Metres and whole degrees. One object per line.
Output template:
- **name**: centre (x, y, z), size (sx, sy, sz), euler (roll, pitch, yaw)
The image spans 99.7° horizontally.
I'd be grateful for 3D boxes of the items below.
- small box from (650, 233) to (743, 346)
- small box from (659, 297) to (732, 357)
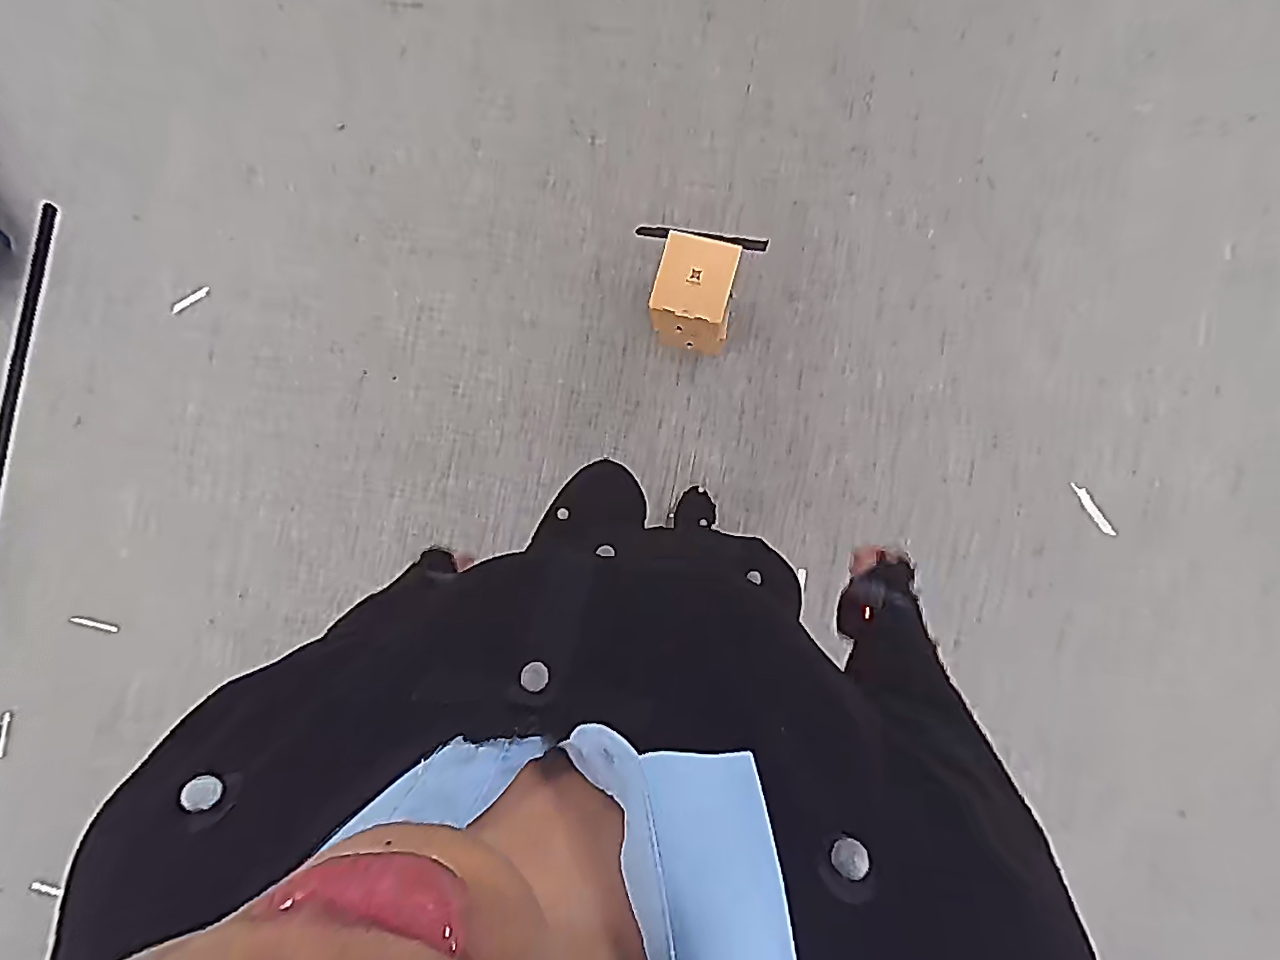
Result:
- **small box**: centre (0.127, -0.432, 1.248), size (0.168, 0.176, 0.179), euler (16, 91, 5)
- **small box**: centre (0.147, -0.431, 1.410), size (0.168, 0.176, 0.179), euler (9, 89, 5)
